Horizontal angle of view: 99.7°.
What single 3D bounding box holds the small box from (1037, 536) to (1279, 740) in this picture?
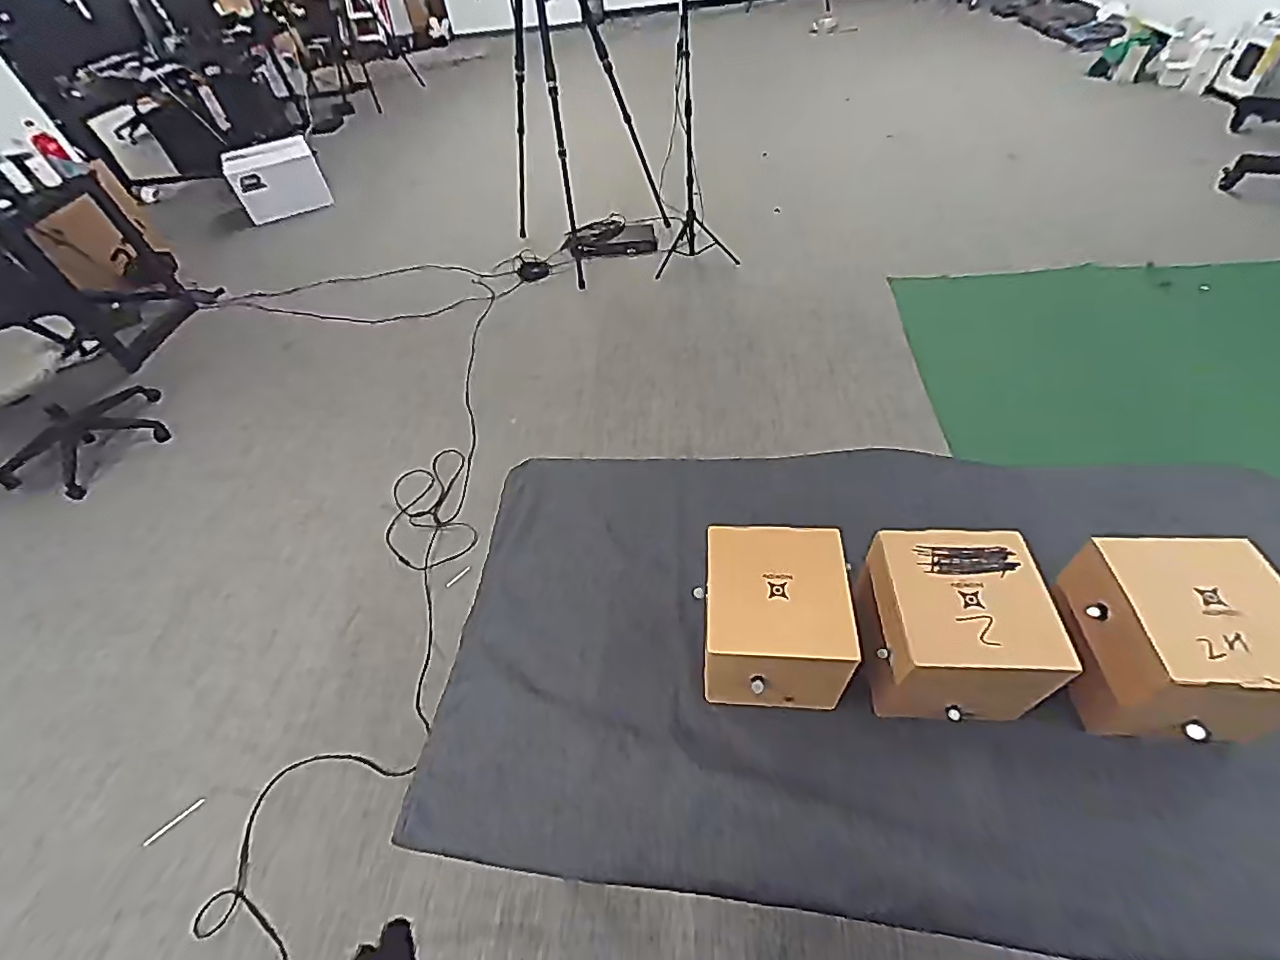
[{"bbox_3d":[0.616,0.185,0.636,0.168,0.176,0.179,-1,49,8],"label":"small box"}]
